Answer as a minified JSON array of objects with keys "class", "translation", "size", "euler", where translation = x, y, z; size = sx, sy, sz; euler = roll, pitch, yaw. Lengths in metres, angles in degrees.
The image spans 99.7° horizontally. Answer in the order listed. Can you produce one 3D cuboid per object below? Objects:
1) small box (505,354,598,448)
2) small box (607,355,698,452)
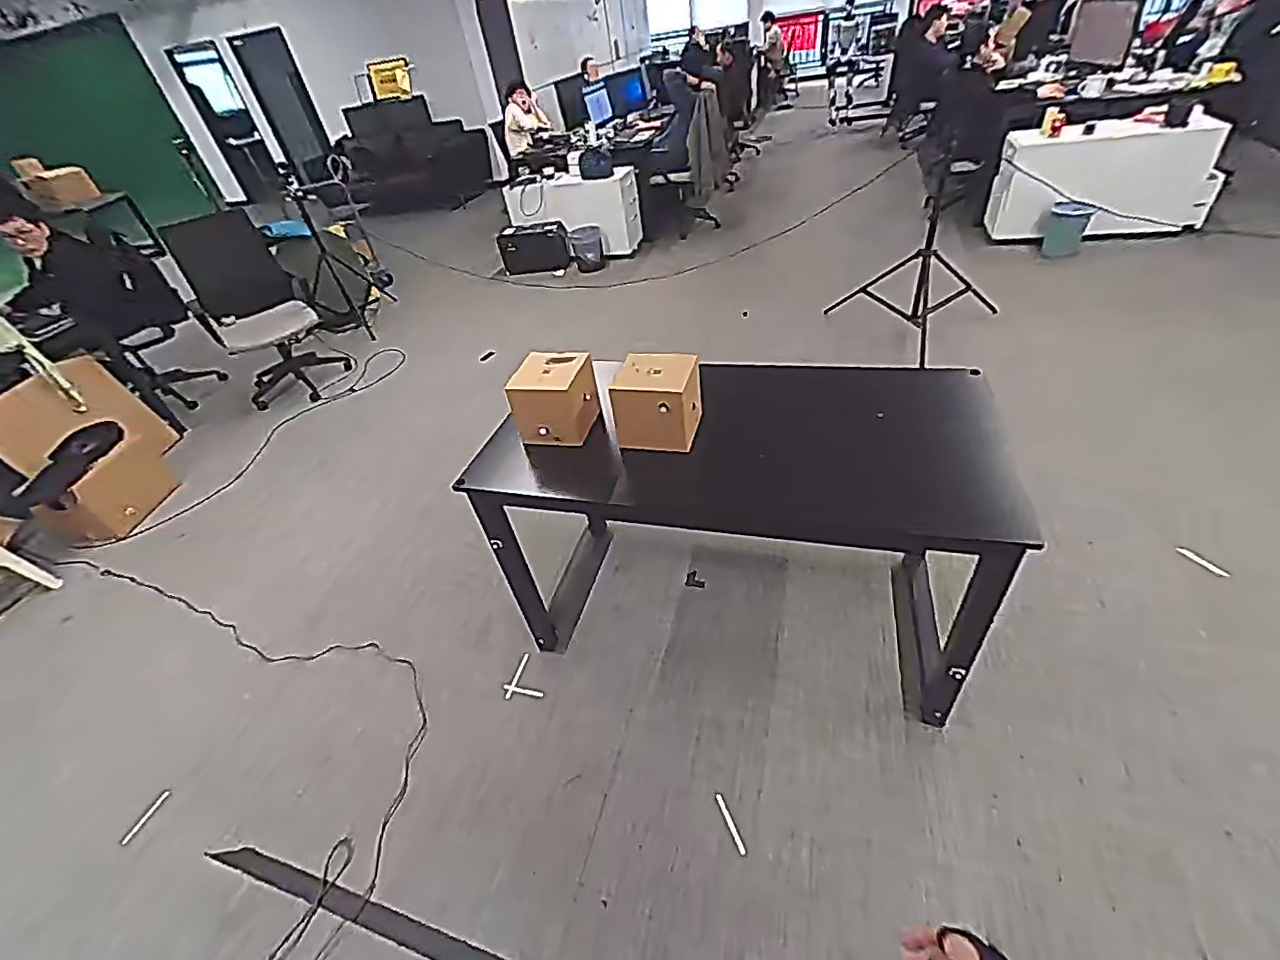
[{"class":"small box","translation":[-0.215,-0.204,1.372],"size":[0.168,0.176,0.179],"euler":[4,43,16]},{"class":"small box","translation":[0.040,-0.183,1.295],"size":[0.179,0.176,0.168],"euler":[5,42,17]}]
